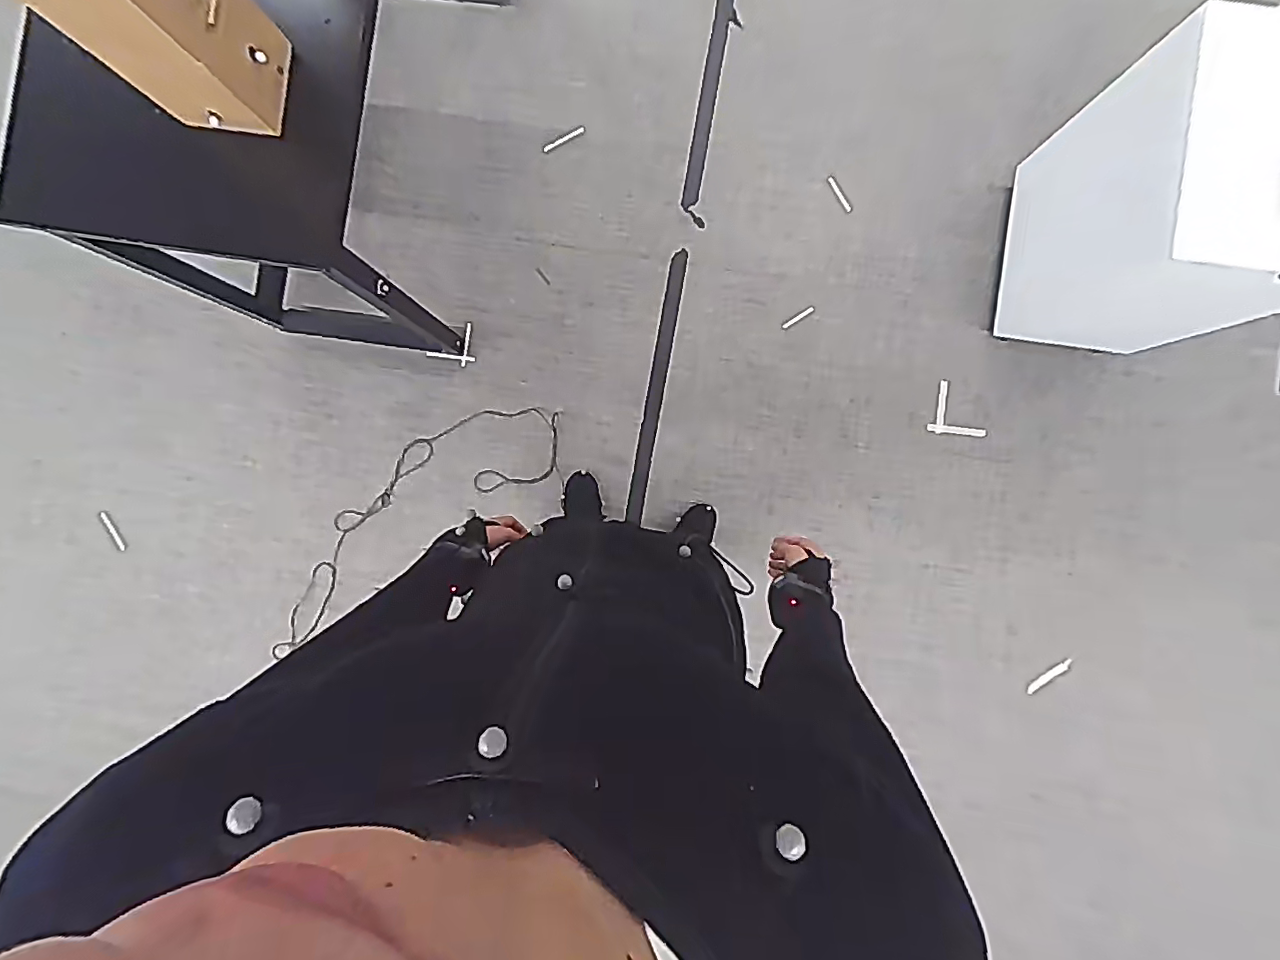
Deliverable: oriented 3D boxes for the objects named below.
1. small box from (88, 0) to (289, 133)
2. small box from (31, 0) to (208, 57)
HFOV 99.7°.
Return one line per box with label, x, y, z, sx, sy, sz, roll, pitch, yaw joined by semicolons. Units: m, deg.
small box;-0.697;-0.687;0.856;0.179;0.176;0.168;7;89;1
small box;-0.703;-0.688;0.691;0.179;0.176;0.168;8;90;1
